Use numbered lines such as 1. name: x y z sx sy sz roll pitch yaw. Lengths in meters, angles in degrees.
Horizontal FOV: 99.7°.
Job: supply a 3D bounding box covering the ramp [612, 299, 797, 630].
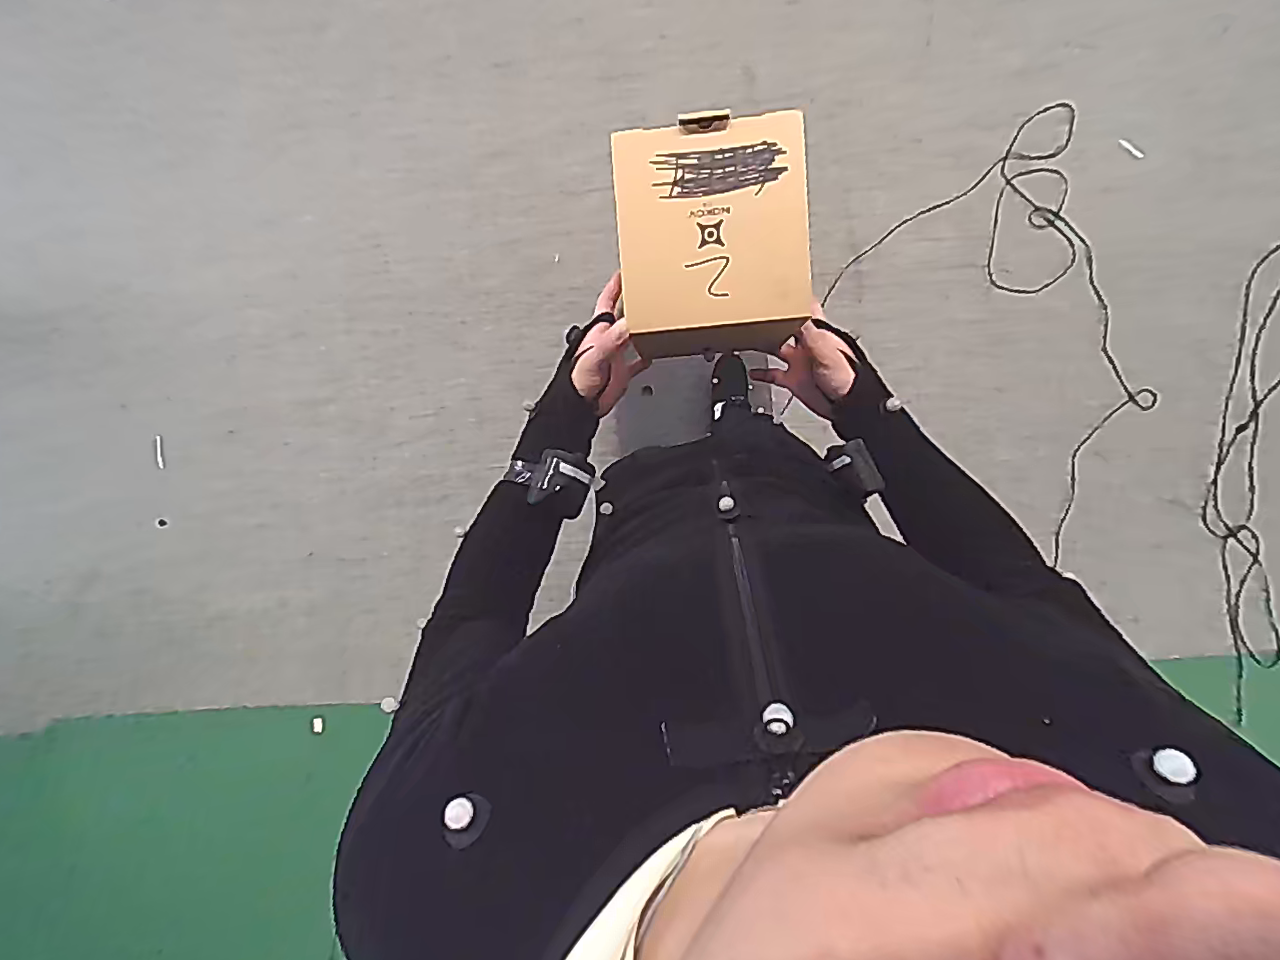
1. ramp: 0.185 -0.063 1.660 0.509 0.206 0.991 -6 94 1
